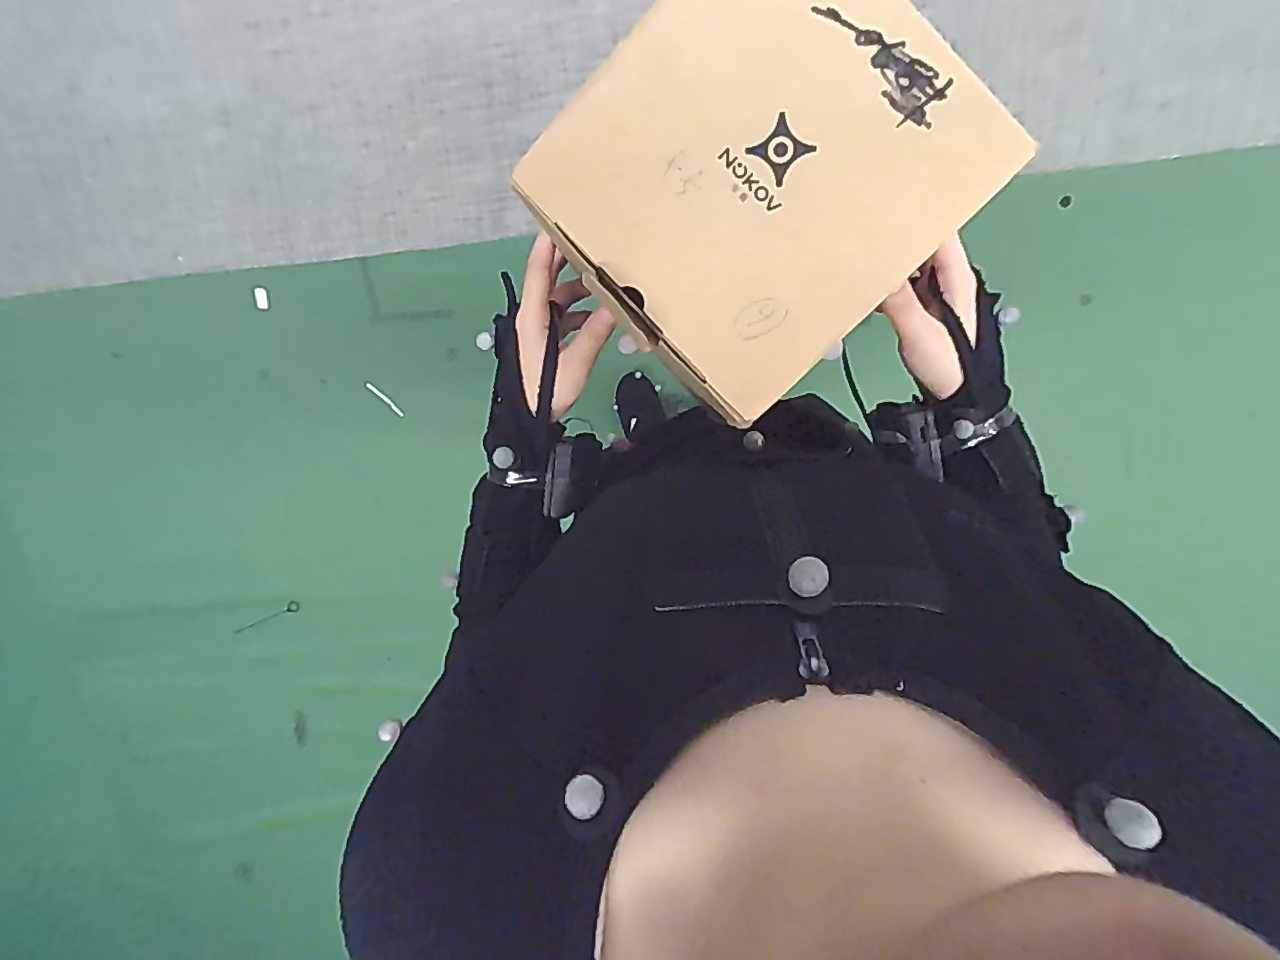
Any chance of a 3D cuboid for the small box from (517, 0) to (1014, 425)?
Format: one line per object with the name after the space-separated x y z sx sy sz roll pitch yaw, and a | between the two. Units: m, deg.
0.062 -0.151 0.333 0.179 0.176 0.168 -44 92 9 | small box
